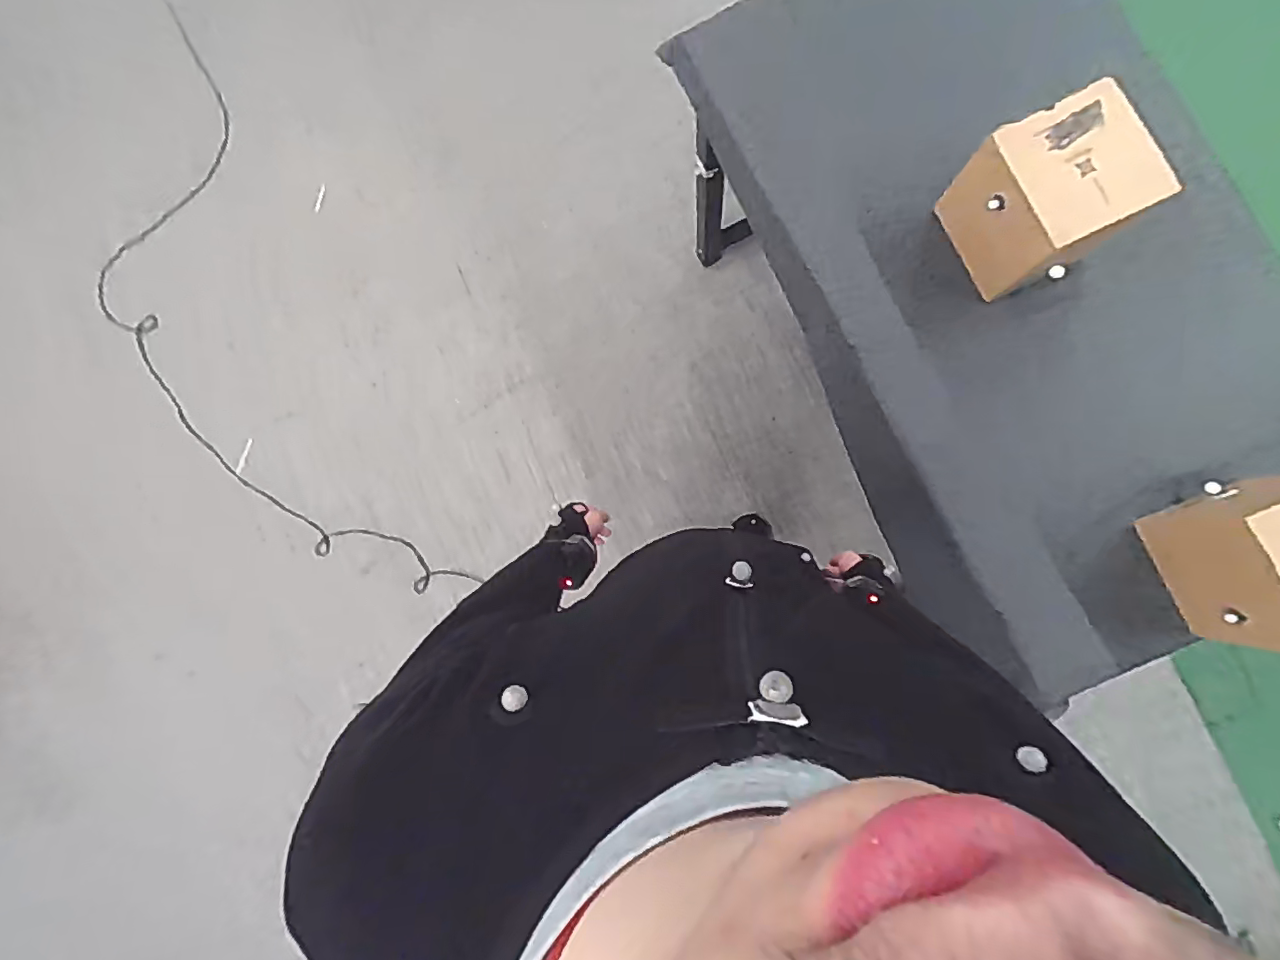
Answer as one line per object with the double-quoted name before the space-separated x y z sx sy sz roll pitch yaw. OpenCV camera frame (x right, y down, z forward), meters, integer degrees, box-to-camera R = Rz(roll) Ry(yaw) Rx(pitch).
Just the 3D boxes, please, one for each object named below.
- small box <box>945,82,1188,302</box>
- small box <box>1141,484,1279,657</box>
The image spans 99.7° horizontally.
"small box" 0.565 -0.382 0.748 0.168 0.176 0.179 -25 84 4
"small box" 0.807 0.108 0.677 0.168 0.176 0.179 -23 81 3
